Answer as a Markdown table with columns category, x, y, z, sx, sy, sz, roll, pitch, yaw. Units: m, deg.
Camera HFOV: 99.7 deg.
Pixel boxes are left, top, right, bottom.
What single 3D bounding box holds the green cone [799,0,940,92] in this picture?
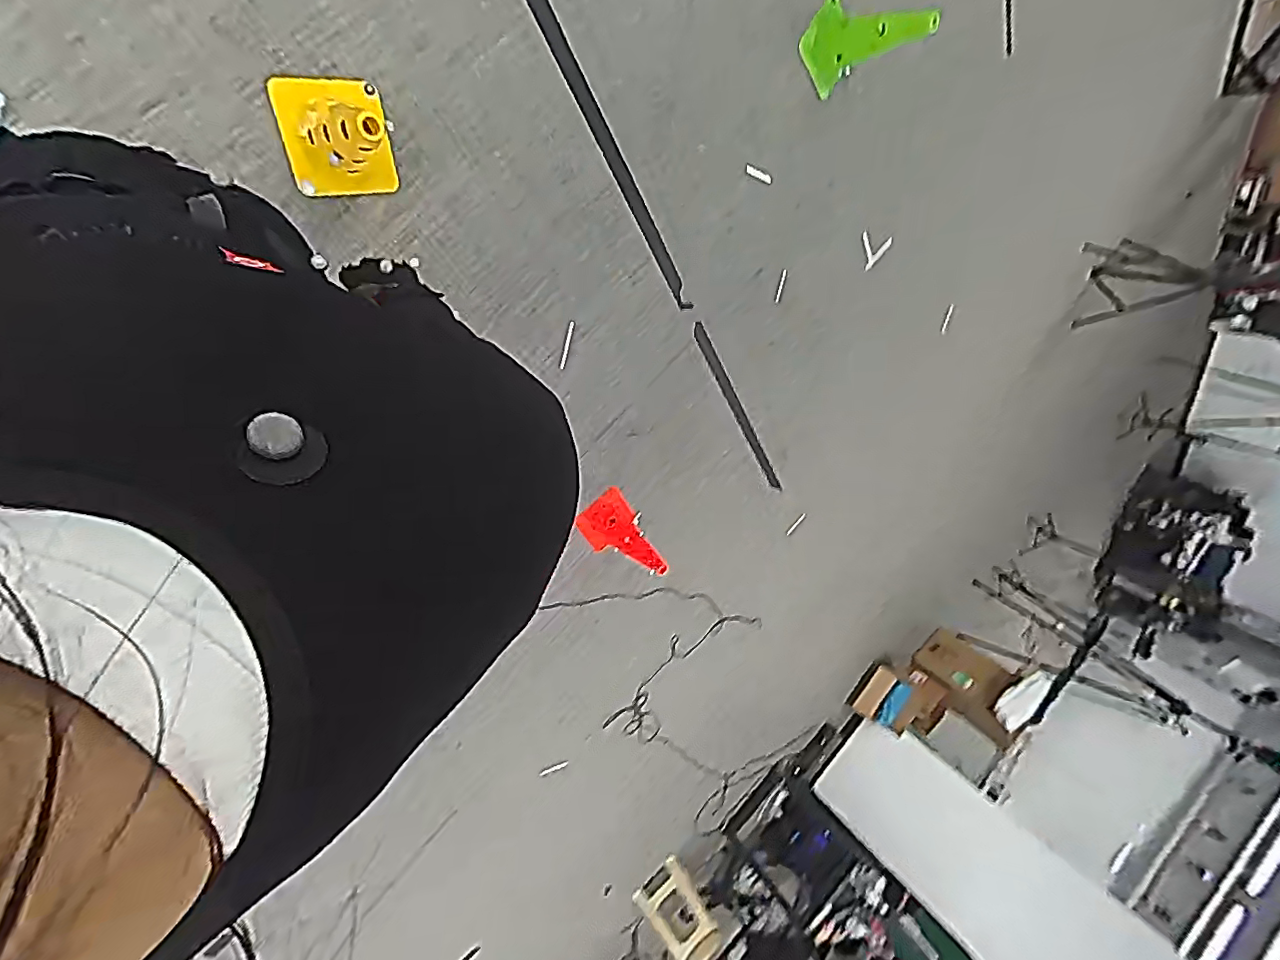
| category | x | y | z | sx | sy | sz | roll | pitch | yaw |
| --- | --- | --- | --- | --- | --- | --- | --- | --- | --- |
| green cone | 0.683 | -1.301 | 1.569 | 0.202 | 0.368 | 0.200 | 29 | 94 | -45 |

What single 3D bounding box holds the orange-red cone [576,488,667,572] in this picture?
| category | x | y | z | sx | sy | sz | roll | pitch | yaw |
| --- | --- | --- | --- | --- | --- | --- | --- | --- | --- |
| orange-red cone | -0.028 | 0.208 | 1.829 | 0.198 | 0.360 | 0.199 | -42 | 131 | -14 |
